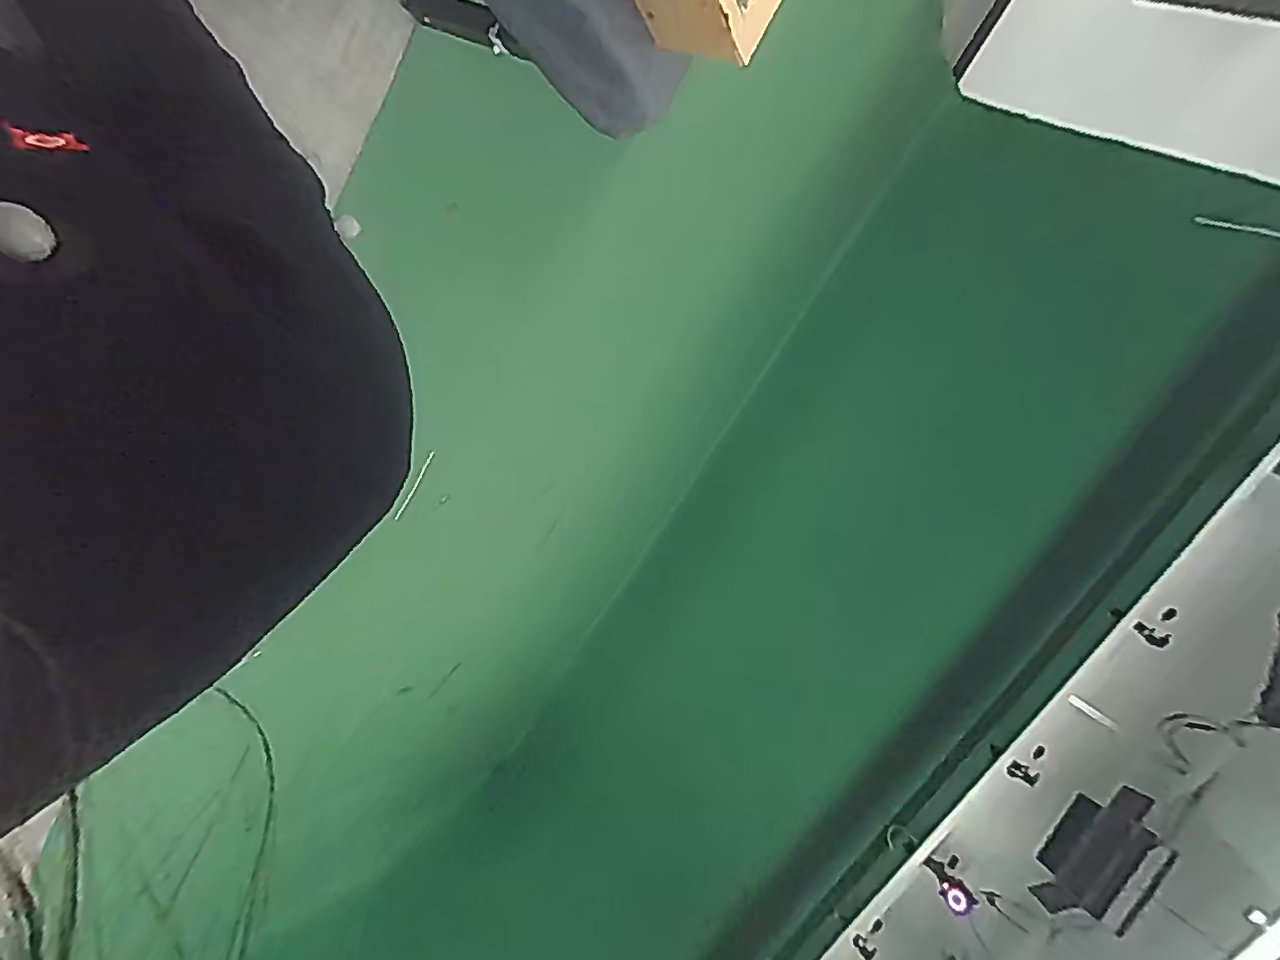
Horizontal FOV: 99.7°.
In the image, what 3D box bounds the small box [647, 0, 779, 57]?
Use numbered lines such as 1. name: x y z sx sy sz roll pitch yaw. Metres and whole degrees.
1. small box: 0.098 -0.725 0.720 0.179 0.176 0.168 -59 155 10
